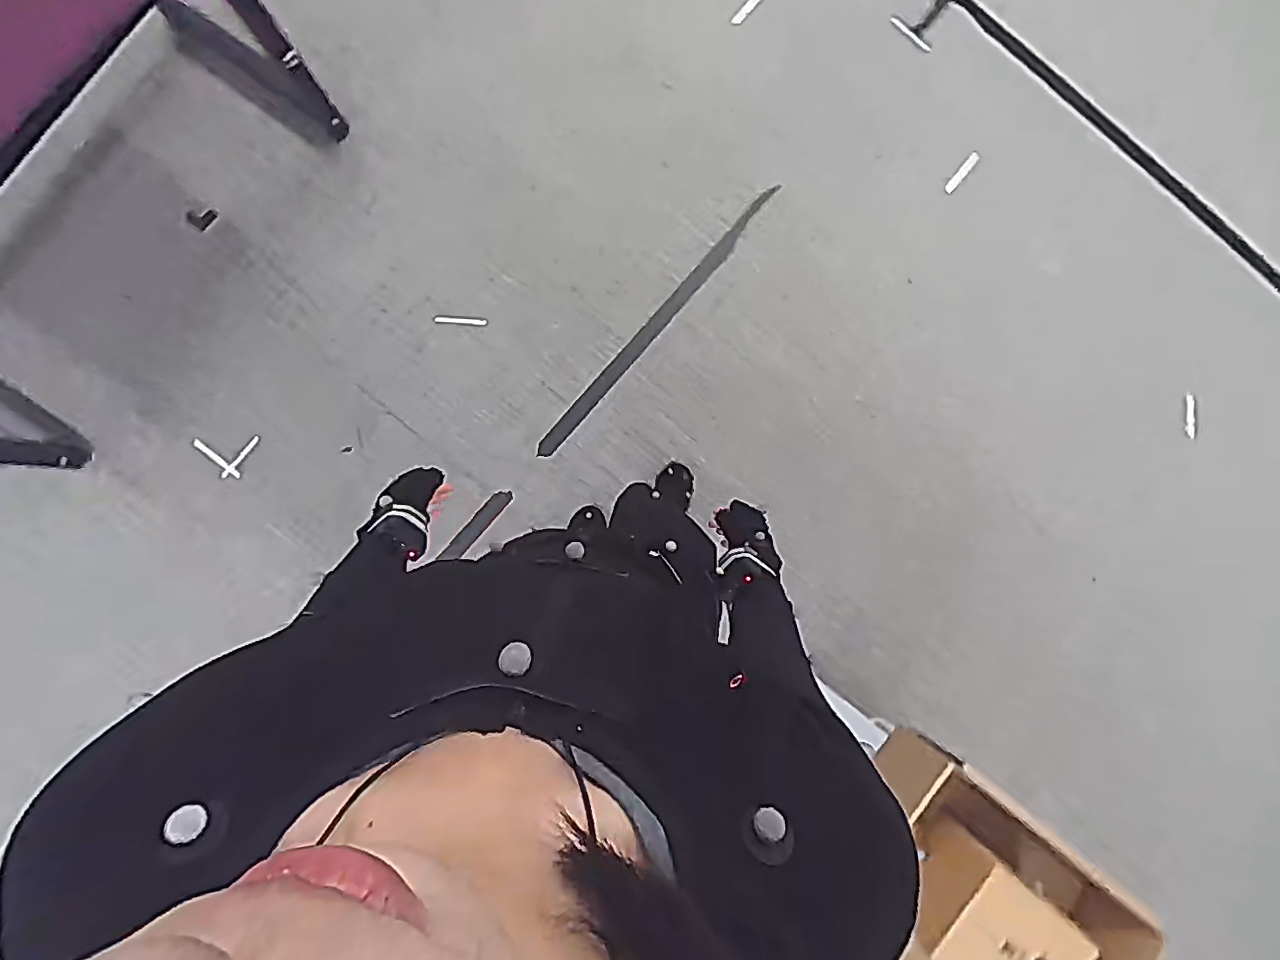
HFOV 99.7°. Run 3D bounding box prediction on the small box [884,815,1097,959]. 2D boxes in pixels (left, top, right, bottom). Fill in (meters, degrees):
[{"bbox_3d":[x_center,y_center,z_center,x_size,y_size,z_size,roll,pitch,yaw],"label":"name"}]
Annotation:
[{"bbox_3d":[0.523,0.671,0.835,0.179,0.176,0.168,39,86,5],"label":"small box"}]
